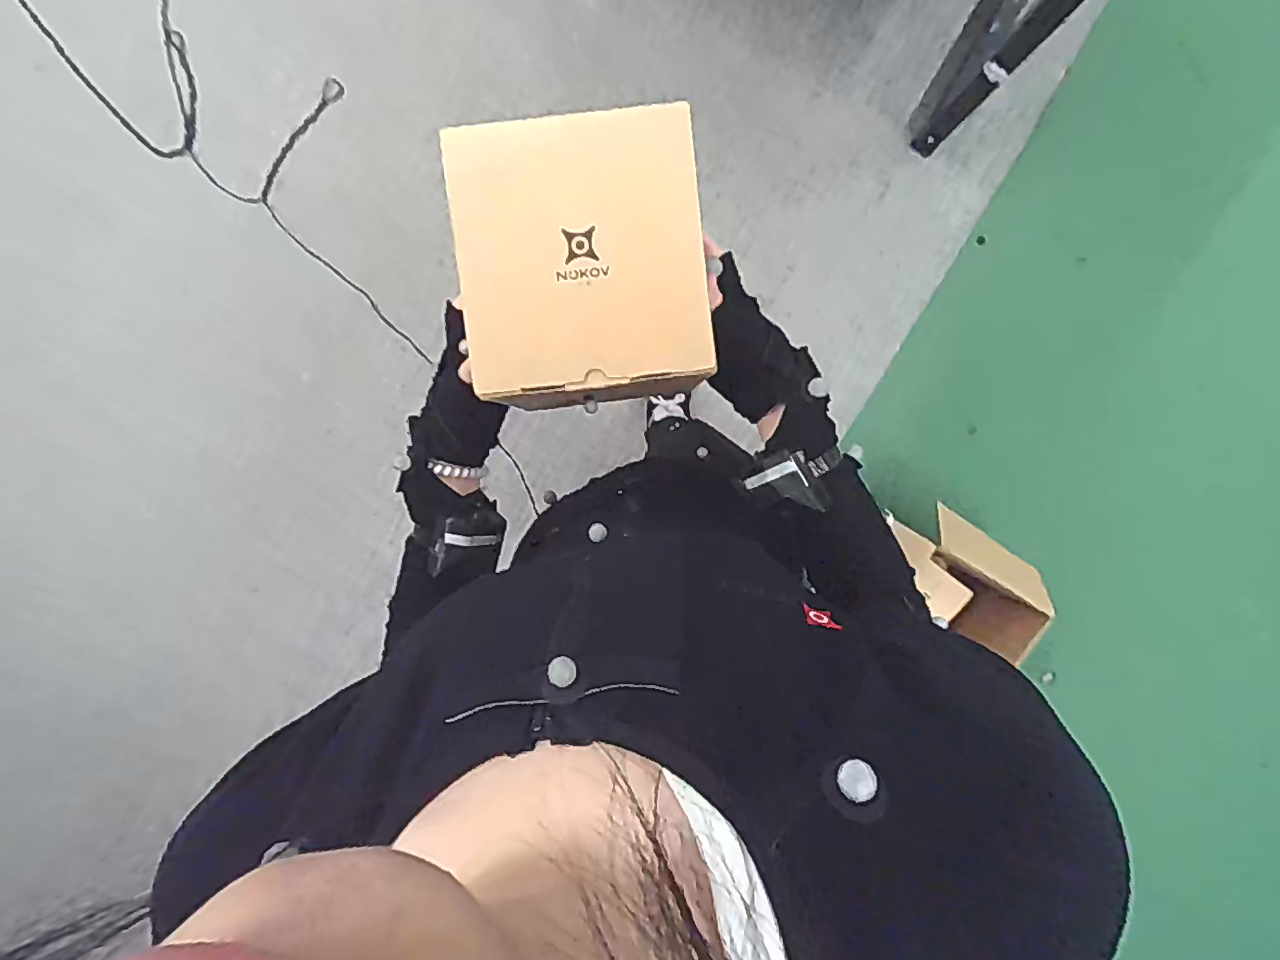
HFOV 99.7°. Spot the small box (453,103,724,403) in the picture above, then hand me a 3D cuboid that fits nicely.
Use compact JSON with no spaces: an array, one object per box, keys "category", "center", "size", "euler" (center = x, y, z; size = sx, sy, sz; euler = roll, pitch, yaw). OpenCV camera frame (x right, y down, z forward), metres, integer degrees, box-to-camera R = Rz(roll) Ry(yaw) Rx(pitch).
[{"category":"small box","center":[-0.036,-0.161,0.439],"size":[0.168,0.176,0.179],"euler":[-7,96,-1]}]
